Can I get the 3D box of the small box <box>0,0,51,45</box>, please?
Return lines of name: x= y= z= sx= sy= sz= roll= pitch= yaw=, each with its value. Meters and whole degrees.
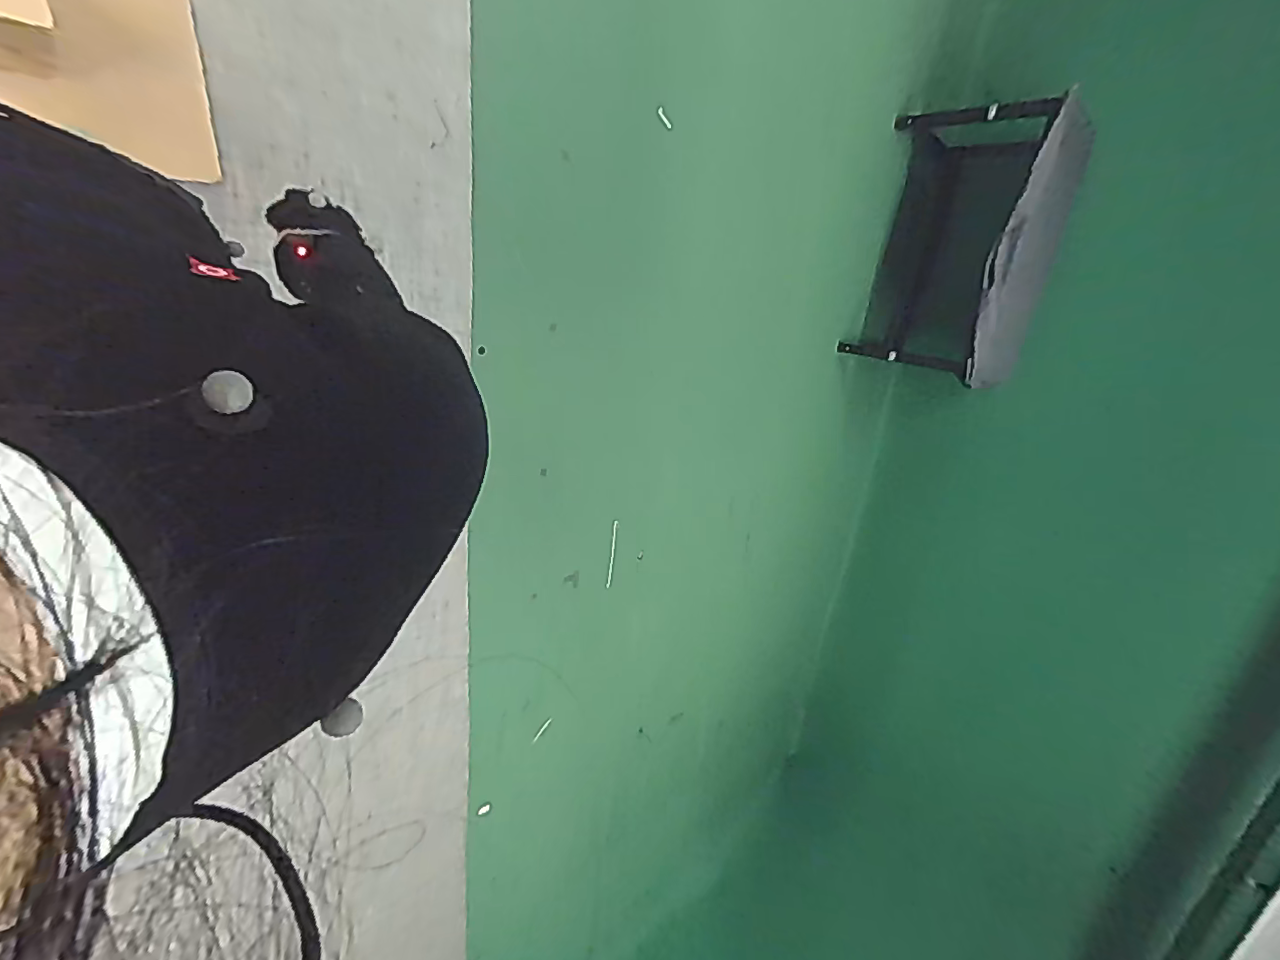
small box: x=-0.869 y=-0.674 z=0.665 sx=0.168 sy=0.176 sz=0.179 roll=-18 pitch=121 yaw=-41

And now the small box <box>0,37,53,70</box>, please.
small box: x=-0.984 y=-0.723 z=0.771 sx=0.168 sy=0.176 sz=0.179 roll=-17 pitch=121 yaw=-41
